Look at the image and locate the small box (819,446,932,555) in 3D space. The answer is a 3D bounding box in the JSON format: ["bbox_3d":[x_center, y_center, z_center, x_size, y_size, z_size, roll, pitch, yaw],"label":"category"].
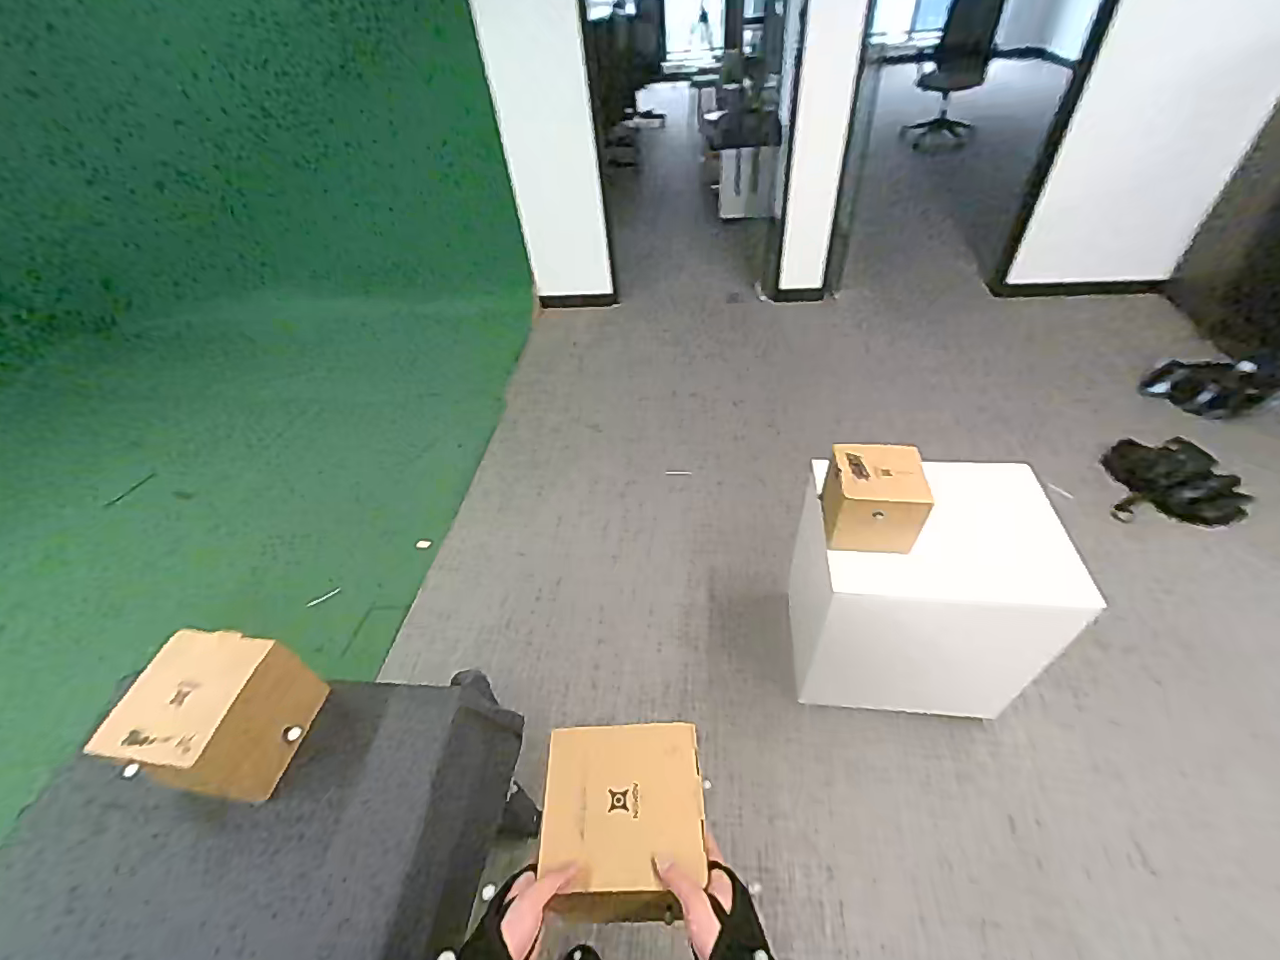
[{"bbox_3d":[0.491,0.045,1.165,0.179,0.176,0.168,4,46,5],"label":"small box"}]

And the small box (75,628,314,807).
[{"bbox_3d":[-0.611,0.340,0.777,0.168,0.176,0.179,4,46,8],"label":"small box"}]

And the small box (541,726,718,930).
[{"bbox_3d":[-0.008,0.410,0.639,0.179,0.176,0.168,-4,42,2],"label":"small box"}]
